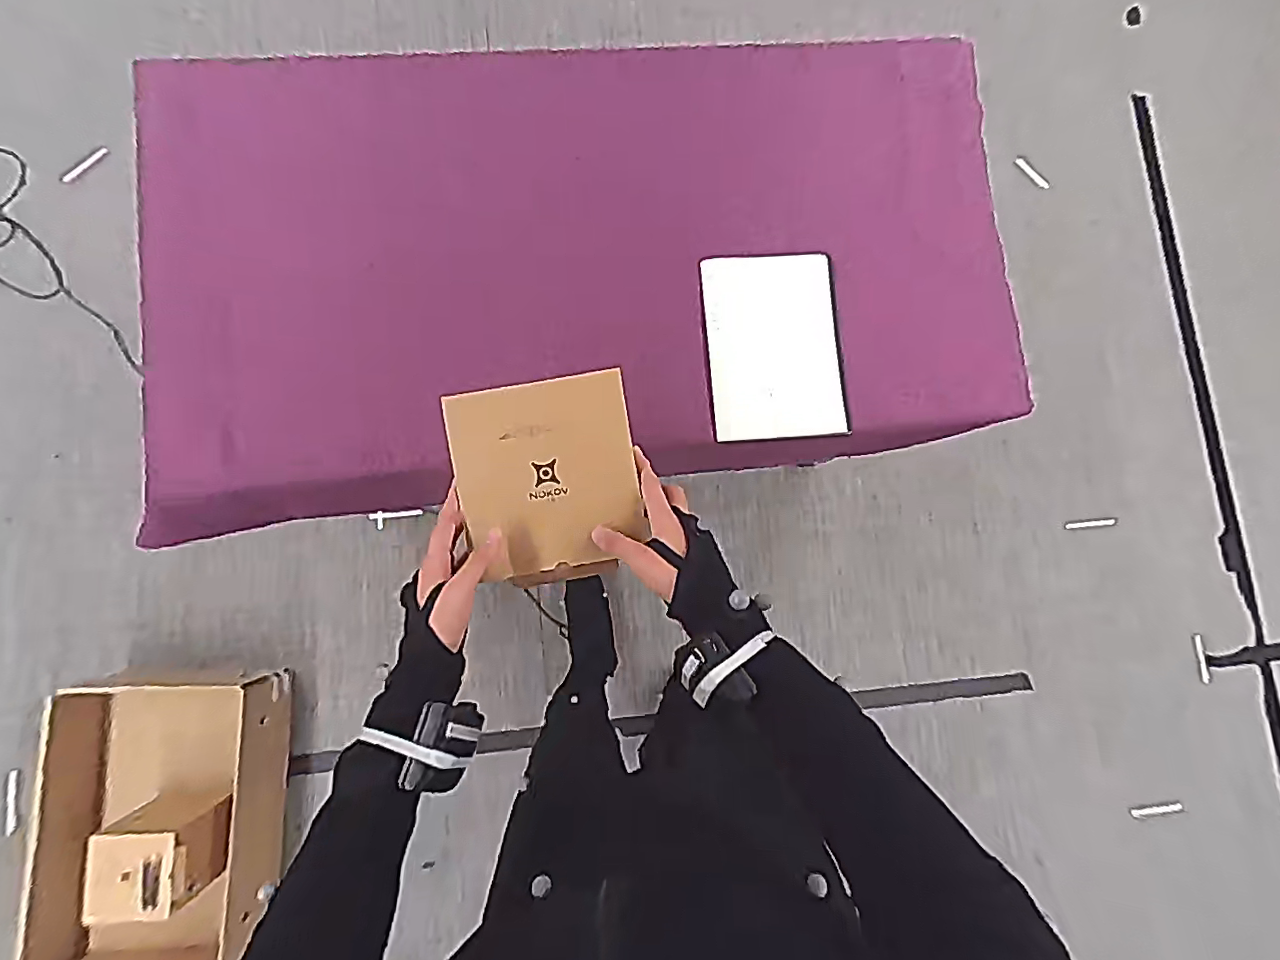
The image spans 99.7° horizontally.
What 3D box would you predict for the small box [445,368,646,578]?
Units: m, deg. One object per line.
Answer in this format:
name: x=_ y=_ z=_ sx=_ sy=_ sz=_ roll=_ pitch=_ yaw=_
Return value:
small box: x=-0.086 y=-0.011 z=0.575 sx=0.168 sy=0.176 sz=0.179 roll=-9 pitch=93 yaw=-1
